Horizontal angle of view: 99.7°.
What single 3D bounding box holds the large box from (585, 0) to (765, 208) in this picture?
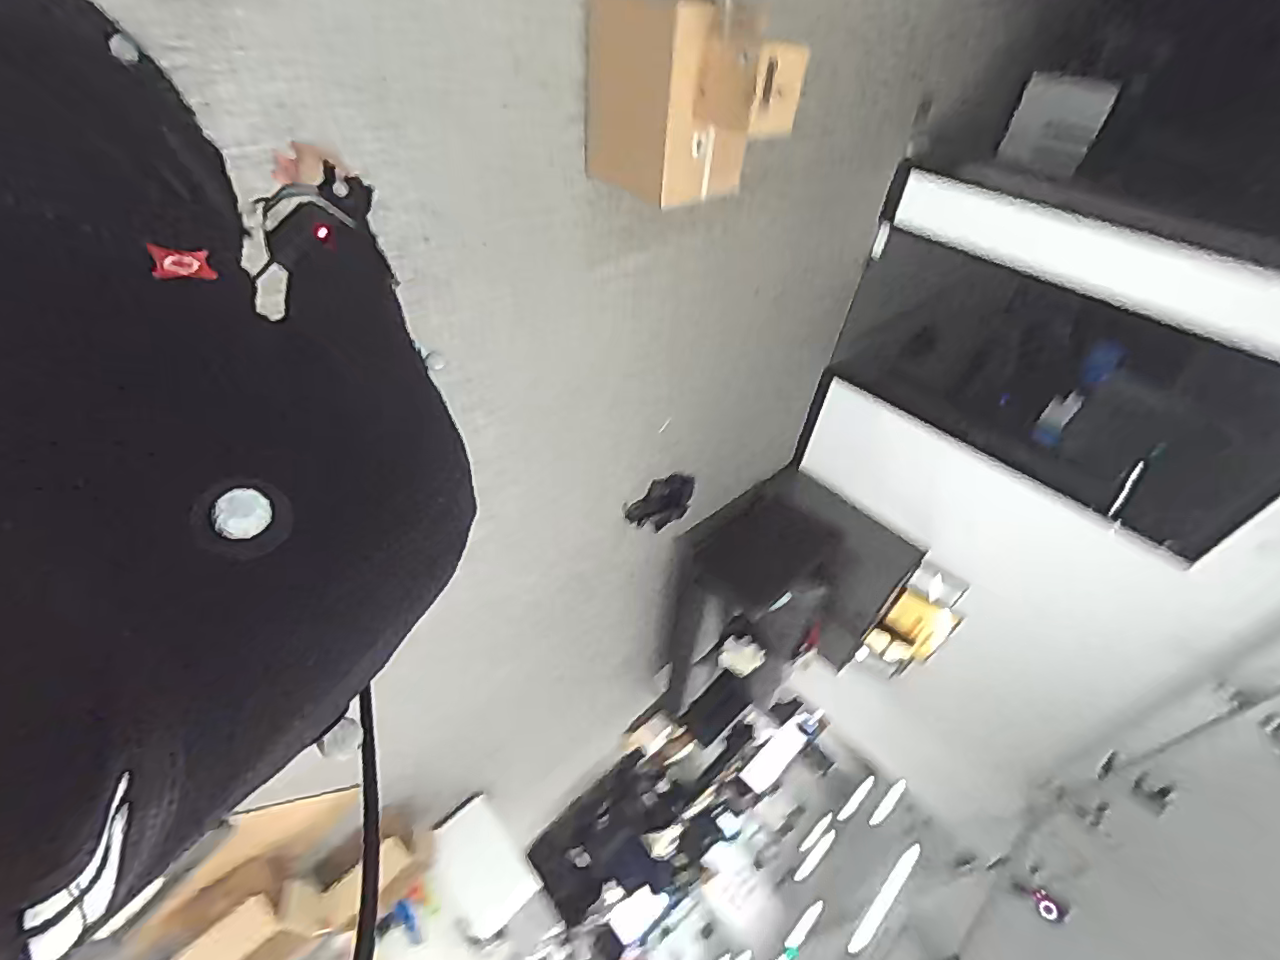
[{"bbox_3d":[0.070,-0.986,1.391,0.320,0.320,0.408,-30,146,-30],"label":"large box"}]
